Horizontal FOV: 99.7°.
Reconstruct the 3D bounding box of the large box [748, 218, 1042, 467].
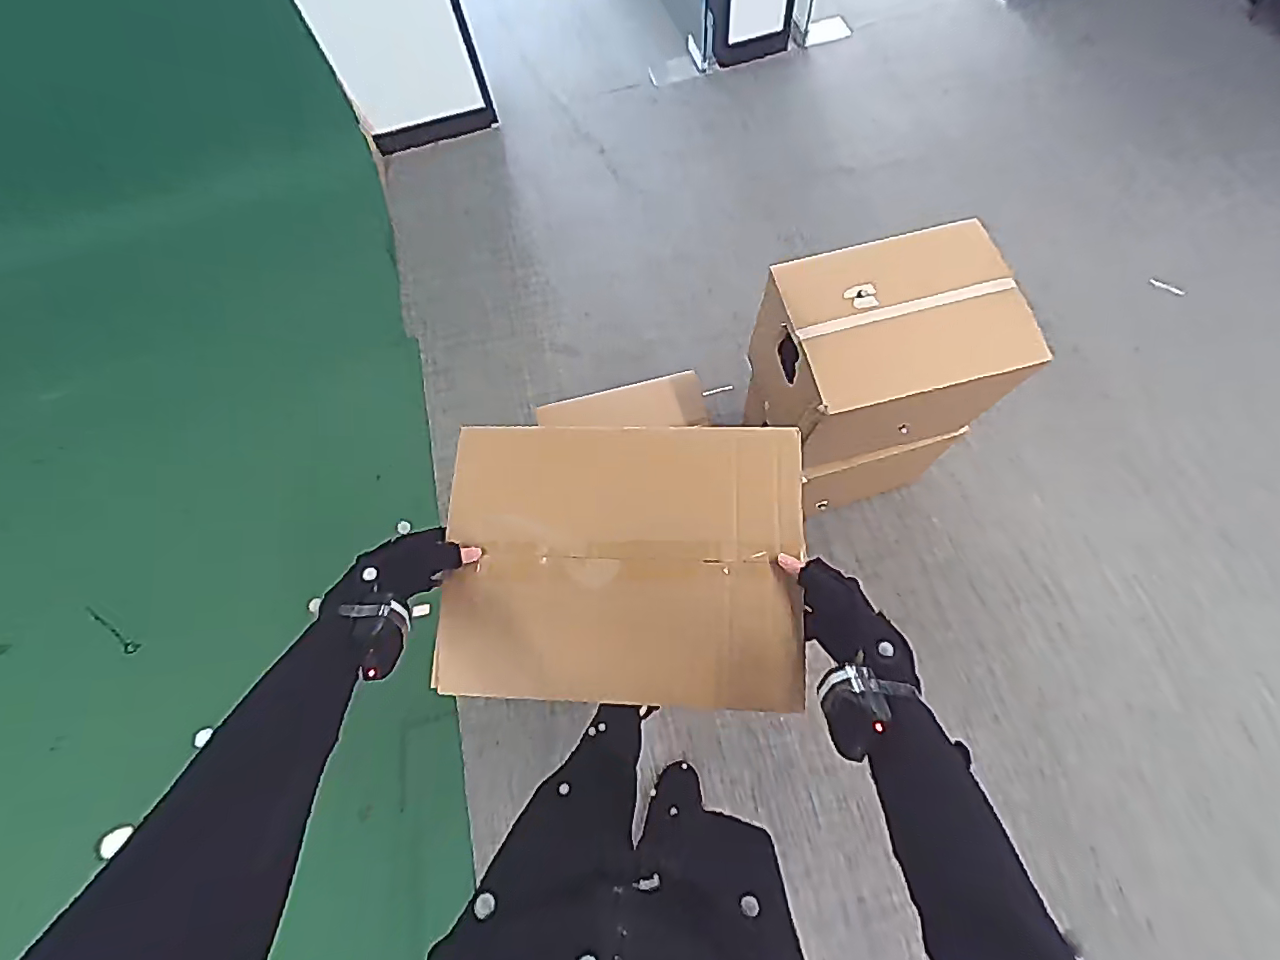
[{"bbox_3d":[0.471,-0.256,1.102,0.408,0.320,0.320,-14,72,0],"label":"large box"}]
